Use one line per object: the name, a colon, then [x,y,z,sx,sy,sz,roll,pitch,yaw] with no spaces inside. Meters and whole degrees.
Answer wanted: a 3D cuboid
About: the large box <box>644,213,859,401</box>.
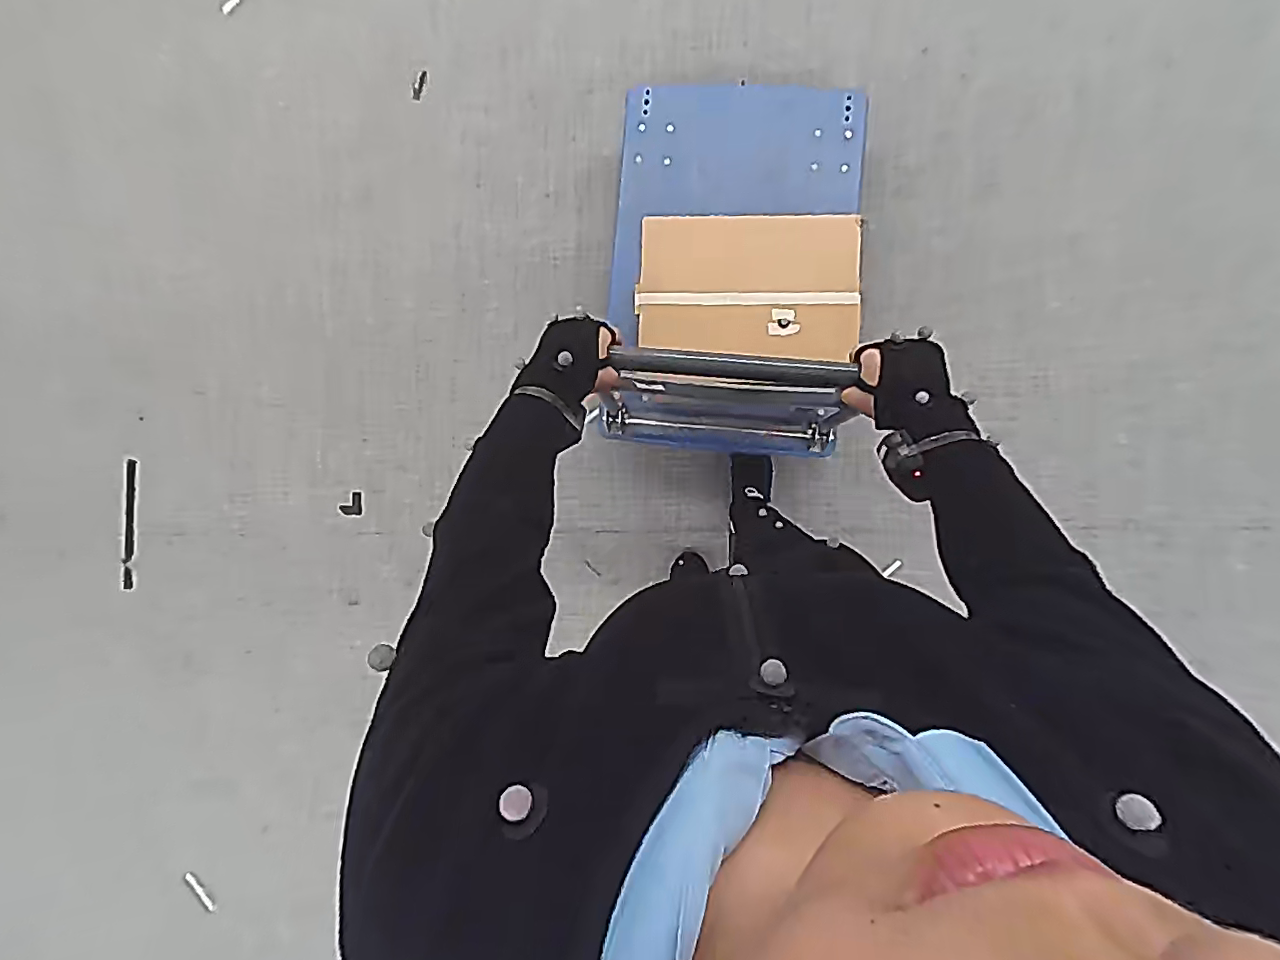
large box: [0.216,-0.346,1.167,0.408,0.320,0.320,2,91,4]
